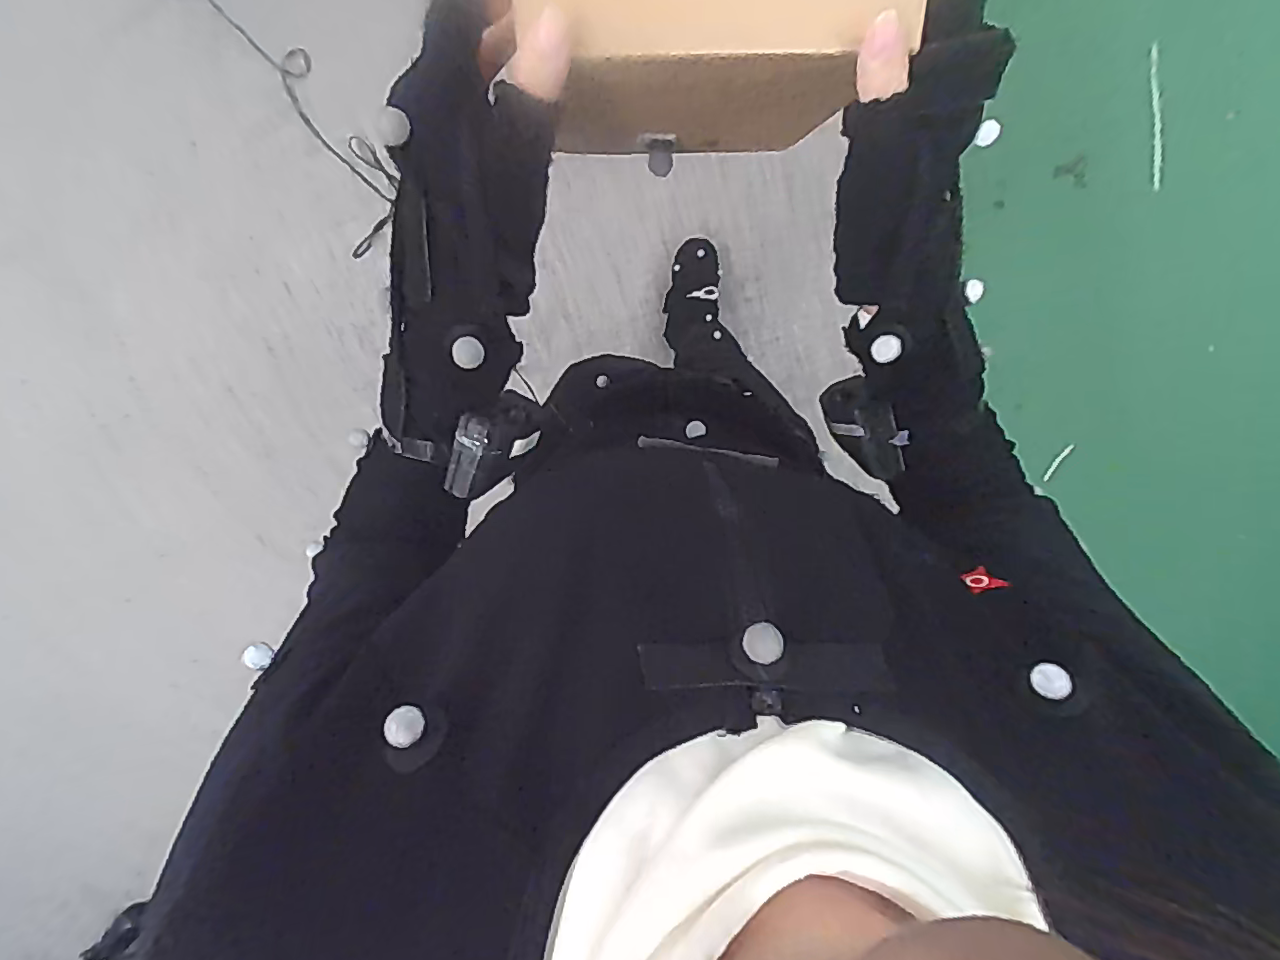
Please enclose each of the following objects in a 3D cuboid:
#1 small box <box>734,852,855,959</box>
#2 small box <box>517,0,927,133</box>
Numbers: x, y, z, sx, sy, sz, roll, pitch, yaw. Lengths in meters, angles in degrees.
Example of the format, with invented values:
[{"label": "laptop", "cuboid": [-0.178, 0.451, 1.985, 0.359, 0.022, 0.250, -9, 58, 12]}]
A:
[{"label": "small box", "cuboid": [0.282, 0.828, 0.979, 0.168, 0.176, 0.179, -16, 106, 1]}, {"label": "small box", "cuboid": [0.022, -0.286, 0.251, 0.168, 0.176, 0.179, -4, 109, -3]}]
